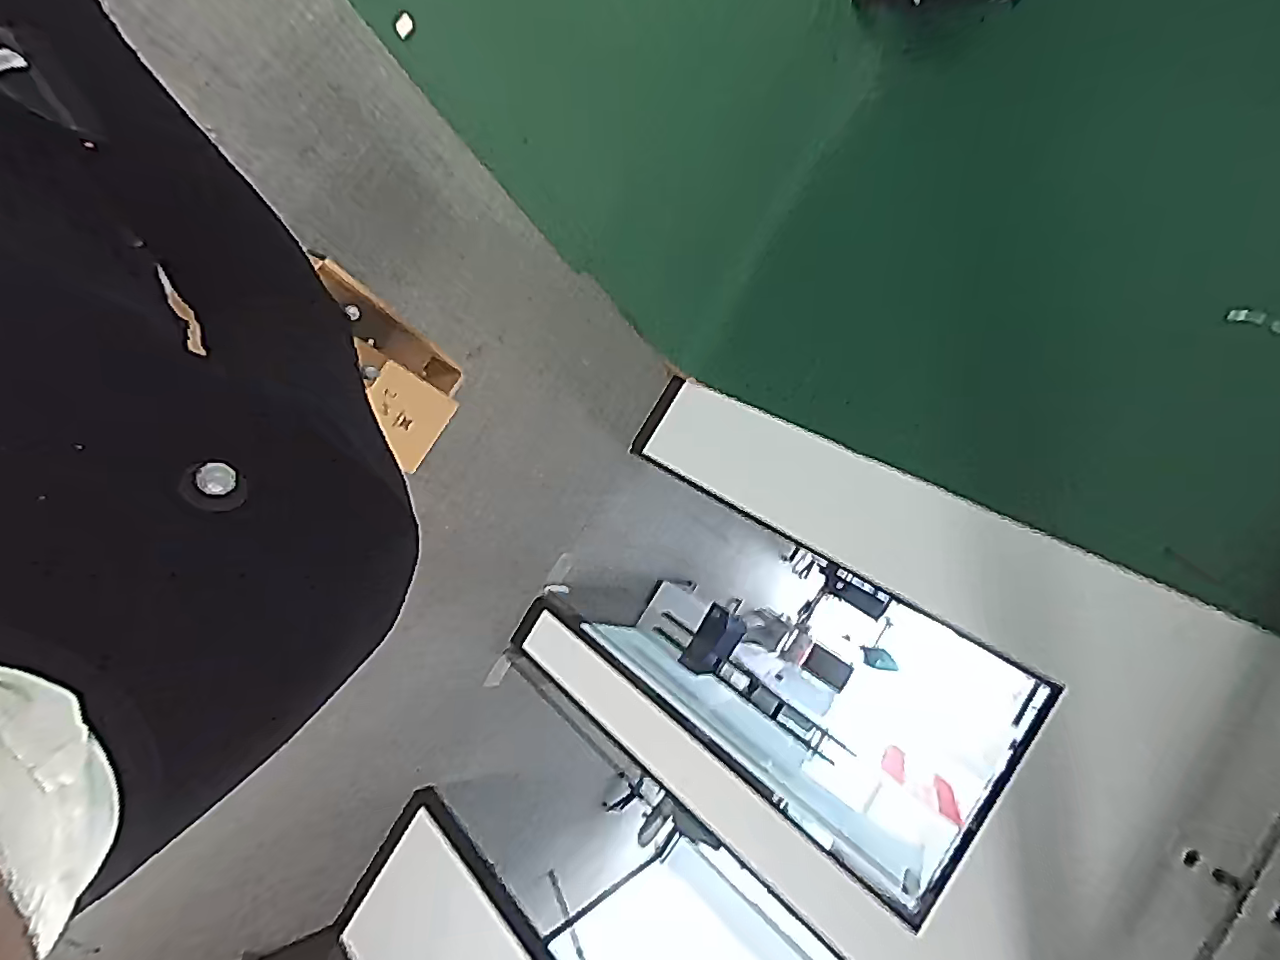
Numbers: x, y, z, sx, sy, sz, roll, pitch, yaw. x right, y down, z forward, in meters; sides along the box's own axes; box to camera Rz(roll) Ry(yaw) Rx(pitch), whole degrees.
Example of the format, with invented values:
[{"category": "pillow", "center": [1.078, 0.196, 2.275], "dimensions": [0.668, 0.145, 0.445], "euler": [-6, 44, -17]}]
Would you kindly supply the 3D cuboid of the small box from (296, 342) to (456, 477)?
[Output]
[{"category": "small box", "center": [-0.495, -0.135, 1.020], "dimensions": [0.168, 0.176, 0.179], "euler": [-58, 149, -4]}]
